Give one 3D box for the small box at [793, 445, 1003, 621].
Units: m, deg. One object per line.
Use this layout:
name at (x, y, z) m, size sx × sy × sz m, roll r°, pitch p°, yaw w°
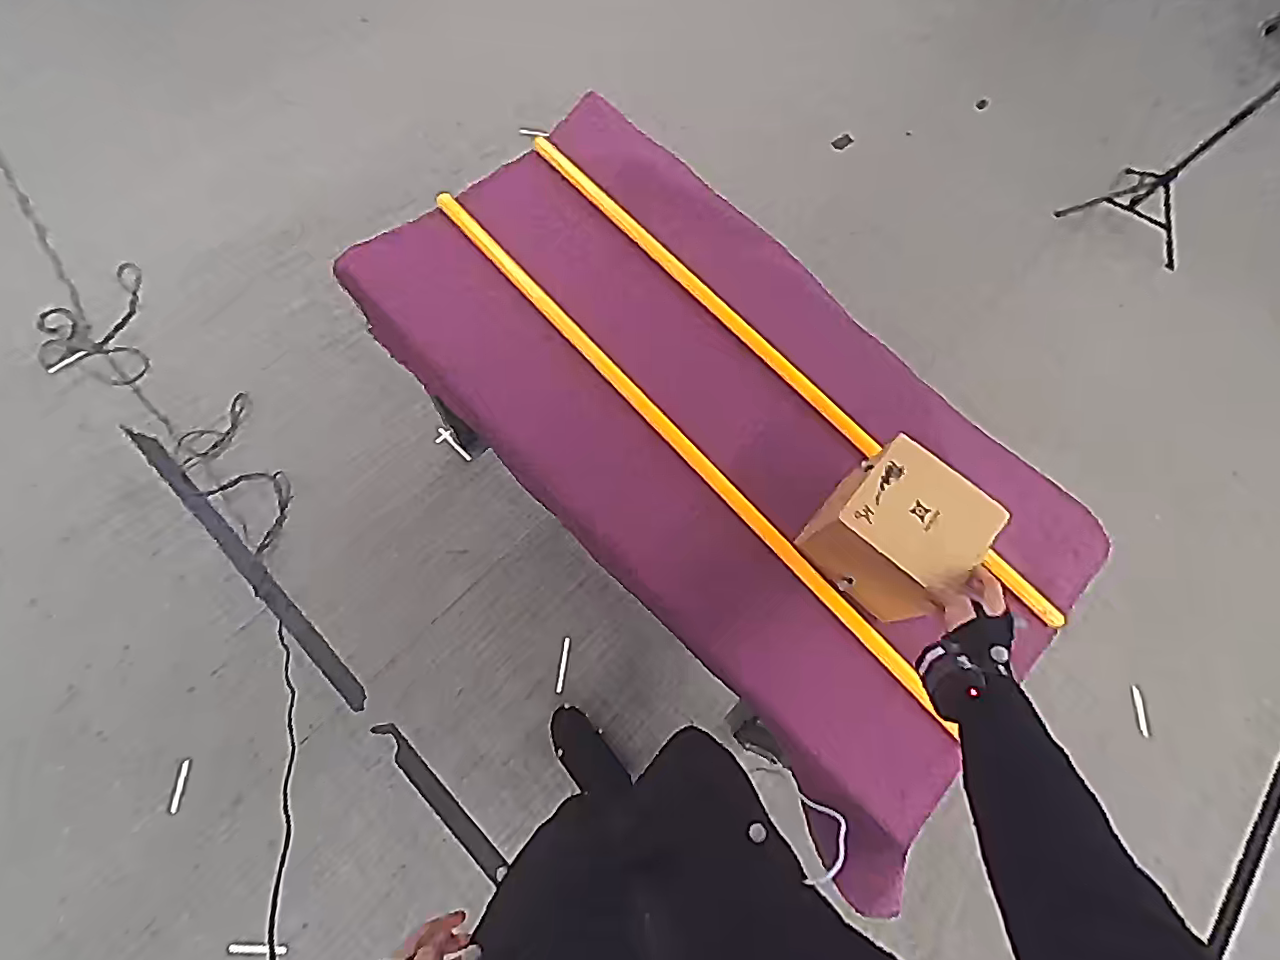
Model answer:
small box at (0.356, 0.086, 0.778) m, size 0.179 × 0.176 × 0.168 m, roll 41°, pitch 72°, yaw 9°
